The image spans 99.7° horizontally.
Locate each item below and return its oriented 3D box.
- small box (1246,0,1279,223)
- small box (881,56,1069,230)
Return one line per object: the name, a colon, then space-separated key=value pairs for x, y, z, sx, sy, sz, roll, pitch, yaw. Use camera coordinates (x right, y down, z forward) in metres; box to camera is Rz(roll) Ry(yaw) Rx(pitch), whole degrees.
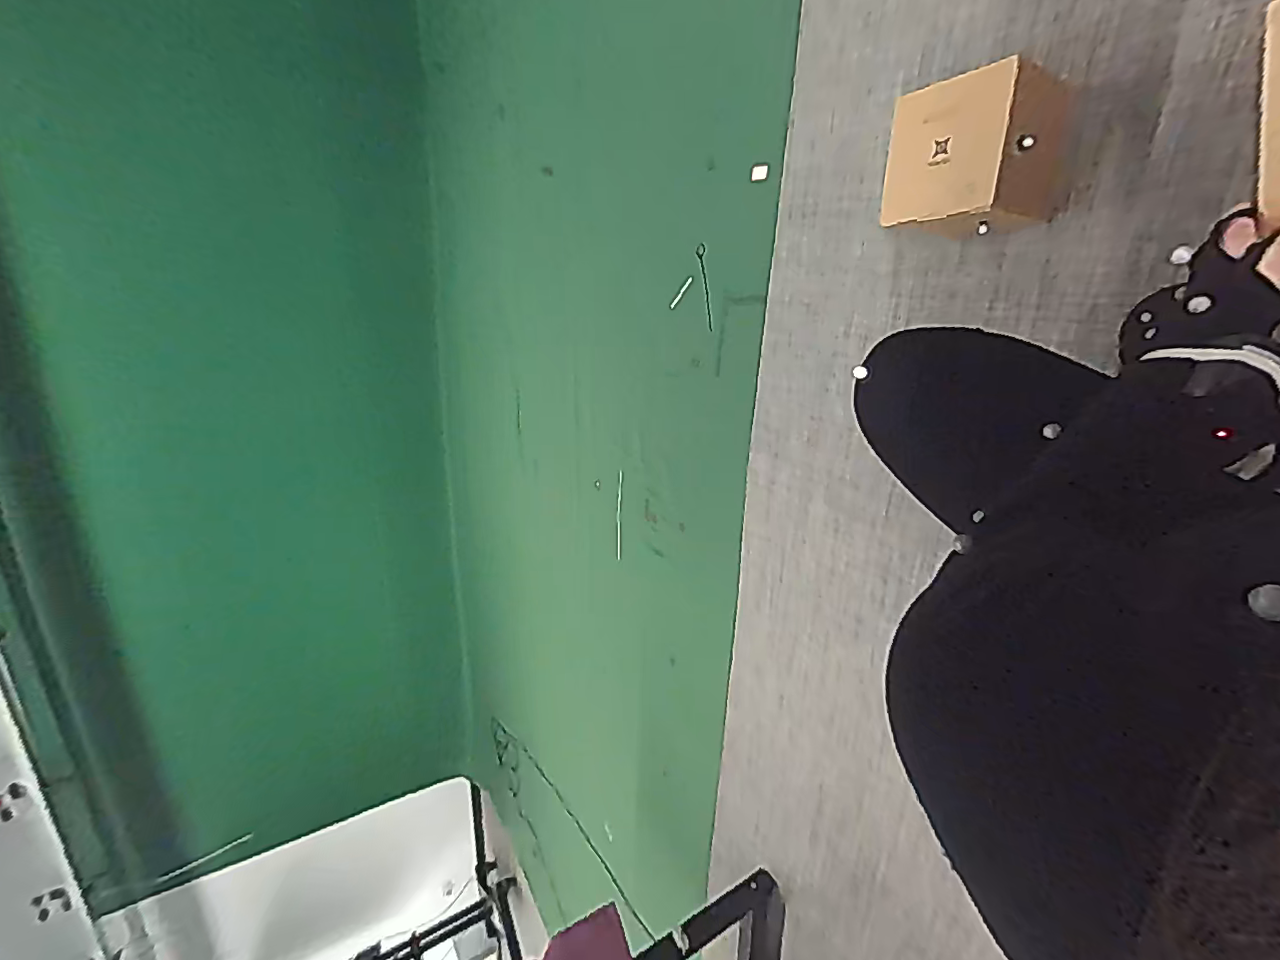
small box: x=0.568 y=-0.299 z=0.356 sx=0.168 sy=0.176 sz=0.179 roll=62 pitch=165 yaw=-23
small box: x=0.488 y=-0.472 z=0.793 sx=0.168 sy=0.176 sz=0.179 roll=25 pitch=117 yaw=53
